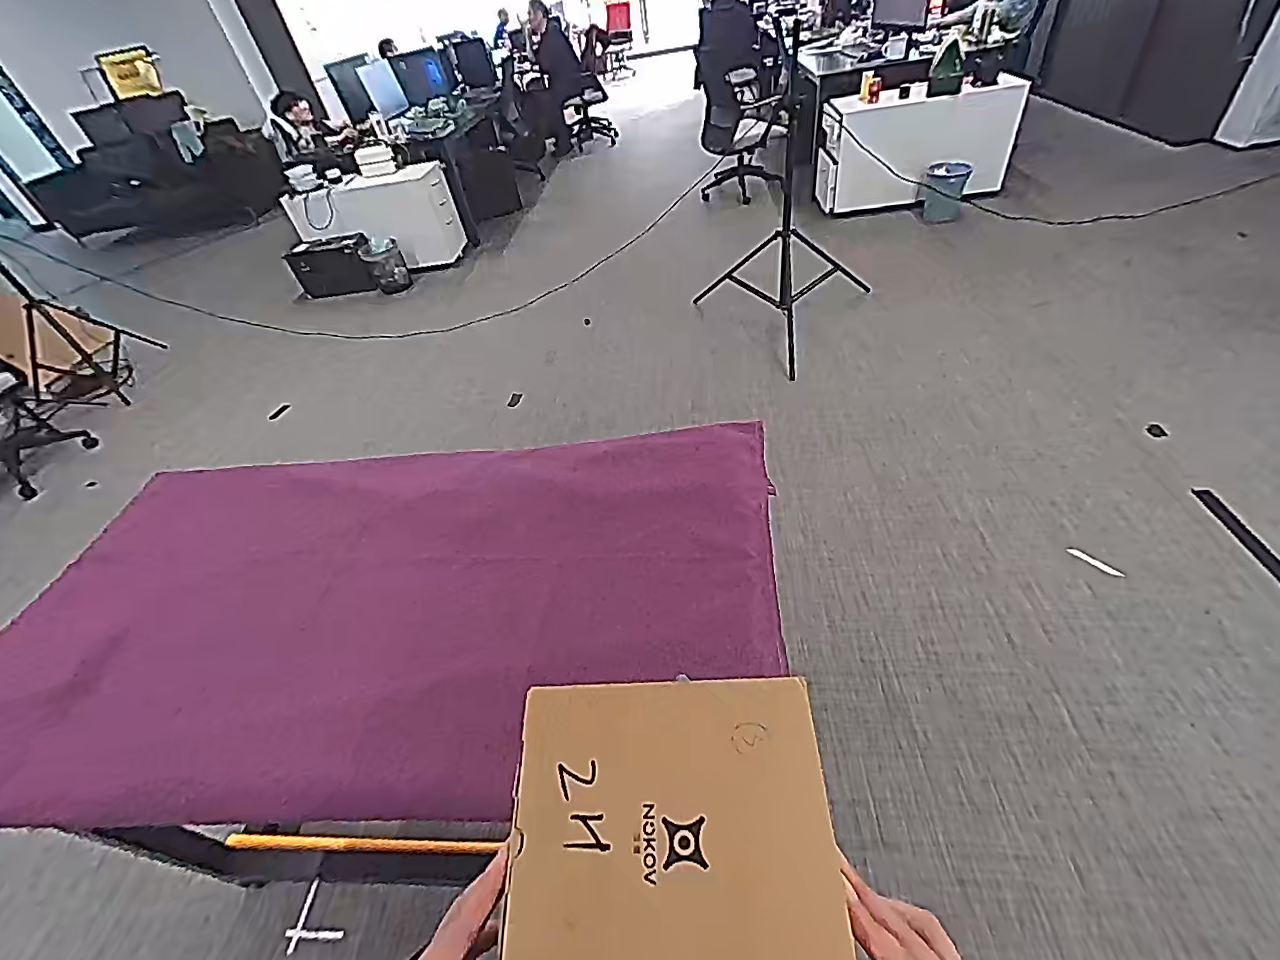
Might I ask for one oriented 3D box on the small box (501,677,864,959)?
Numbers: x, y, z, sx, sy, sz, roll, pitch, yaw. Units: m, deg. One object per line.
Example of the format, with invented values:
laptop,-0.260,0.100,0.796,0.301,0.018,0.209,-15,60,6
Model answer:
small box,0.025,0.235,0.350,0.179,0.176,0.168,-4,53,4
